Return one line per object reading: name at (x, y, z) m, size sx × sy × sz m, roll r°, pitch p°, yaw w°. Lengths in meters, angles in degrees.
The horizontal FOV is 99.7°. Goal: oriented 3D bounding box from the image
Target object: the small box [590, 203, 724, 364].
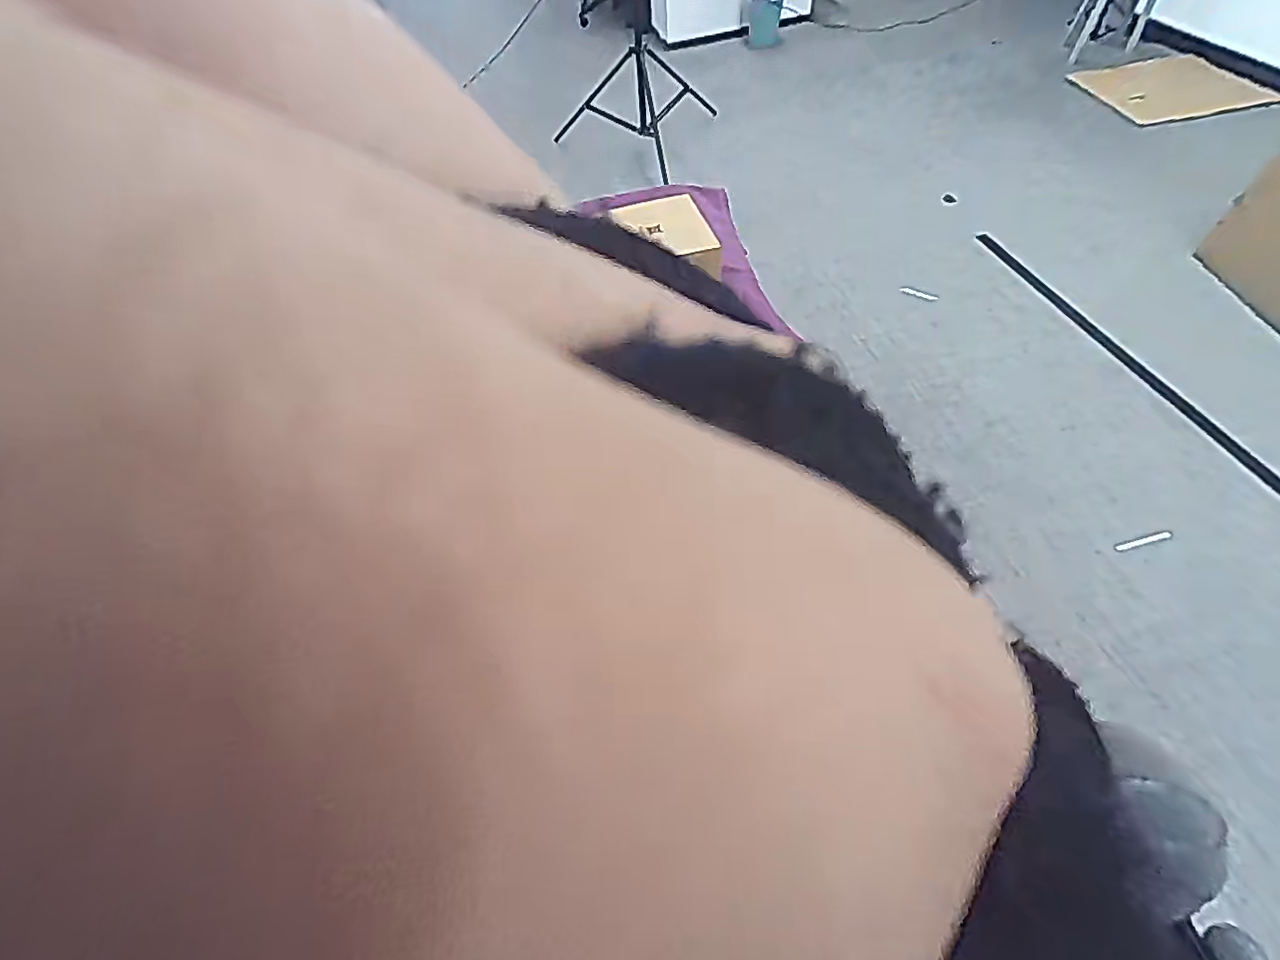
small box at (0.026, -0.317, 0.883) m, size 0.179 × 0.176 × 0.168 m, roll -14°, pitch 53°, yaw -4°
